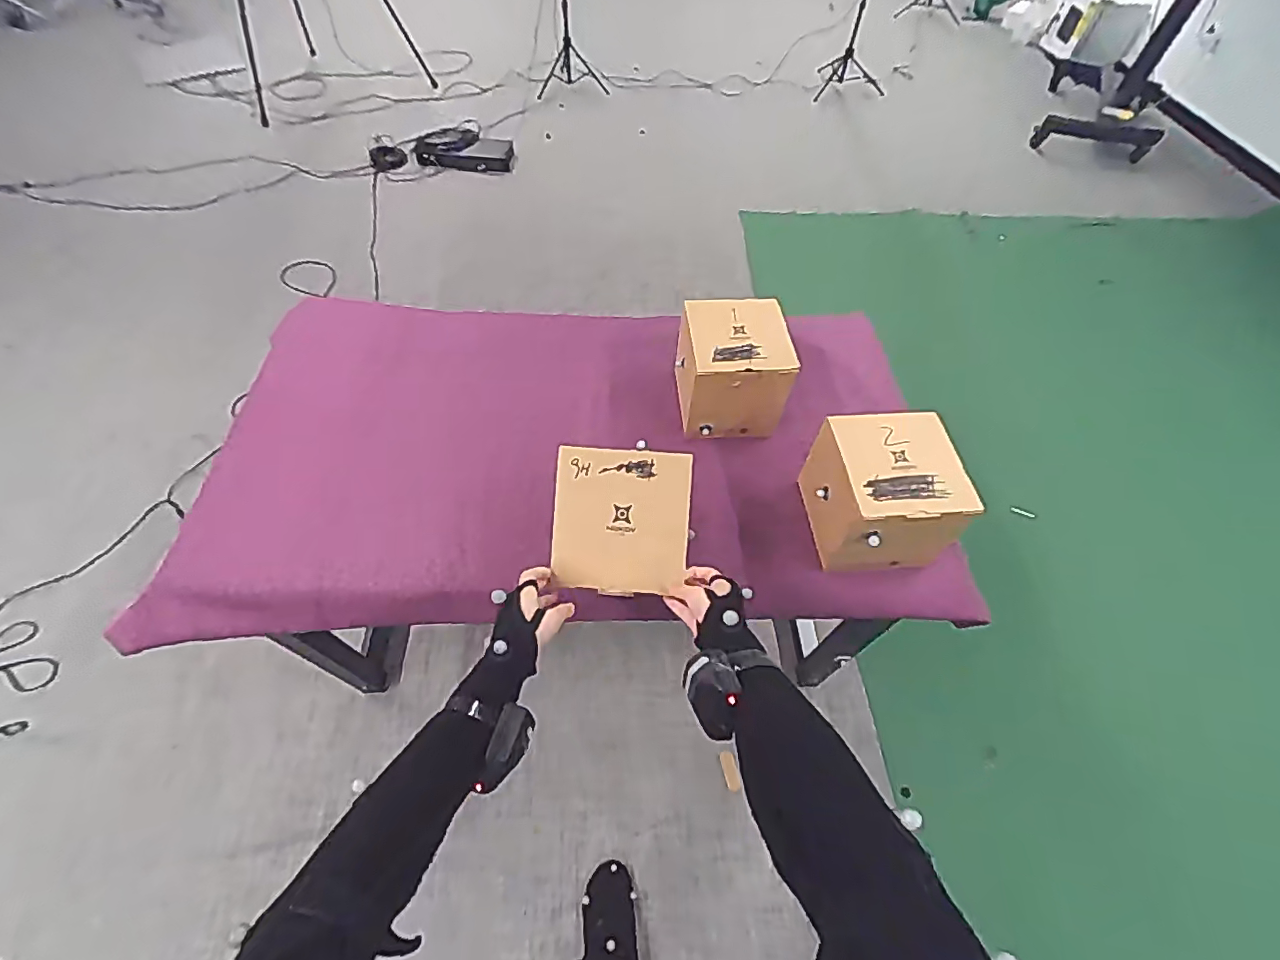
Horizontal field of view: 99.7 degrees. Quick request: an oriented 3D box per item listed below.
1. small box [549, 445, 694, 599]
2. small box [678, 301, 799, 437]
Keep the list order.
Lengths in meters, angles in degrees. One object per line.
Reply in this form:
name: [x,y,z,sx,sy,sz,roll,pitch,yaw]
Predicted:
small box: [-0.020,0.051,0.731,0.168,0.176,0.179,5,89,1]
small box: [0.160,-0.188,0.944,0.168,0.176,0.179,-2,55,-4]
